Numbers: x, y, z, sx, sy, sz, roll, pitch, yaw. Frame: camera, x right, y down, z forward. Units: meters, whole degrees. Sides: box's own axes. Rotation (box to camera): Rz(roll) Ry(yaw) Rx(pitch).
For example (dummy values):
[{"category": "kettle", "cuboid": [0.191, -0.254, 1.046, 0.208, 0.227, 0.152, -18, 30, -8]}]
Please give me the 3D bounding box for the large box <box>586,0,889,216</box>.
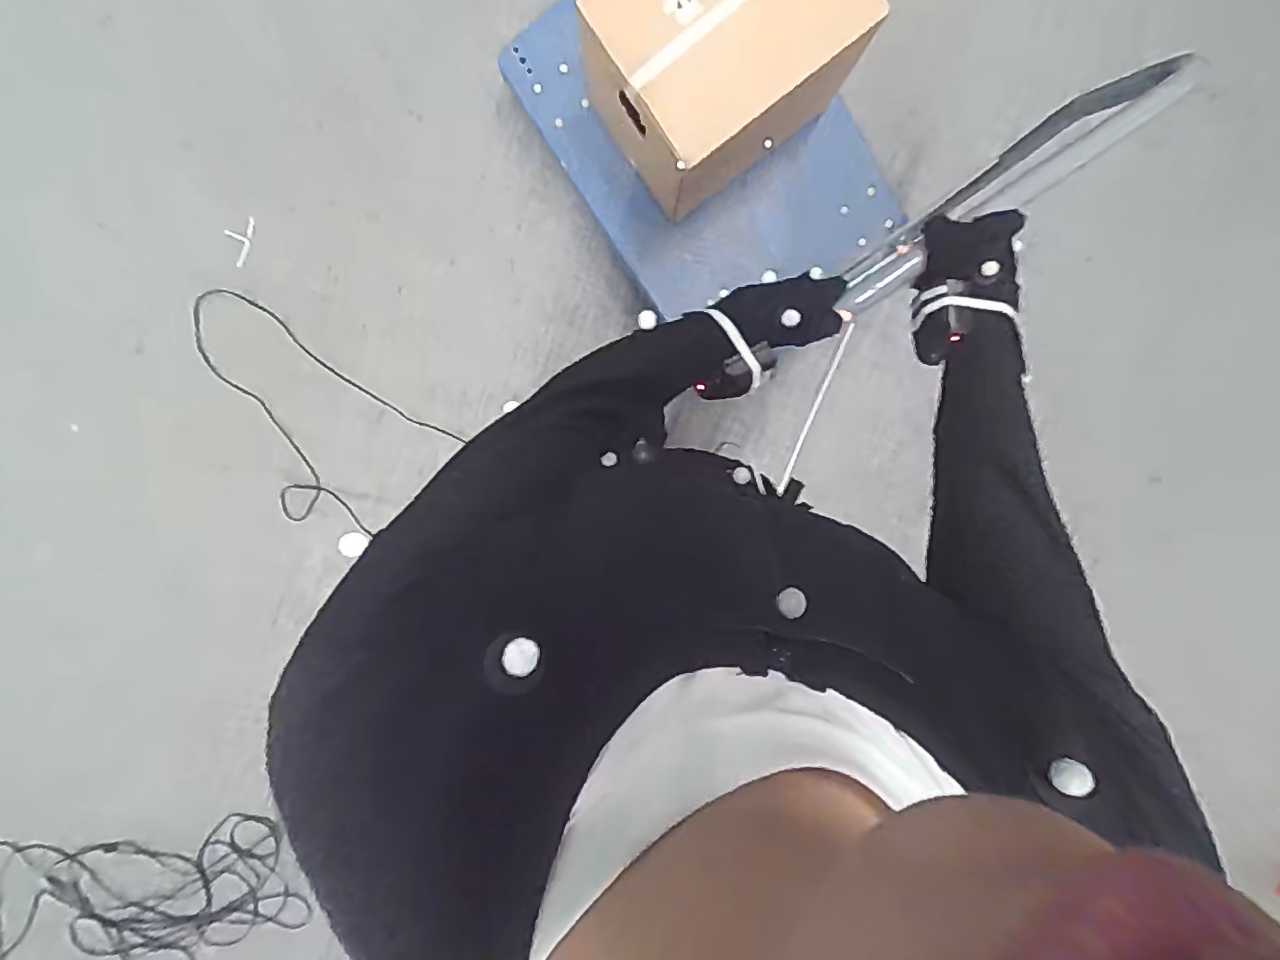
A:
[{"category": "large box", "cuboid": [0.158, -0.789, 1.014, 0.408, 0.320, 0.320, -37, 98, 7]}]
